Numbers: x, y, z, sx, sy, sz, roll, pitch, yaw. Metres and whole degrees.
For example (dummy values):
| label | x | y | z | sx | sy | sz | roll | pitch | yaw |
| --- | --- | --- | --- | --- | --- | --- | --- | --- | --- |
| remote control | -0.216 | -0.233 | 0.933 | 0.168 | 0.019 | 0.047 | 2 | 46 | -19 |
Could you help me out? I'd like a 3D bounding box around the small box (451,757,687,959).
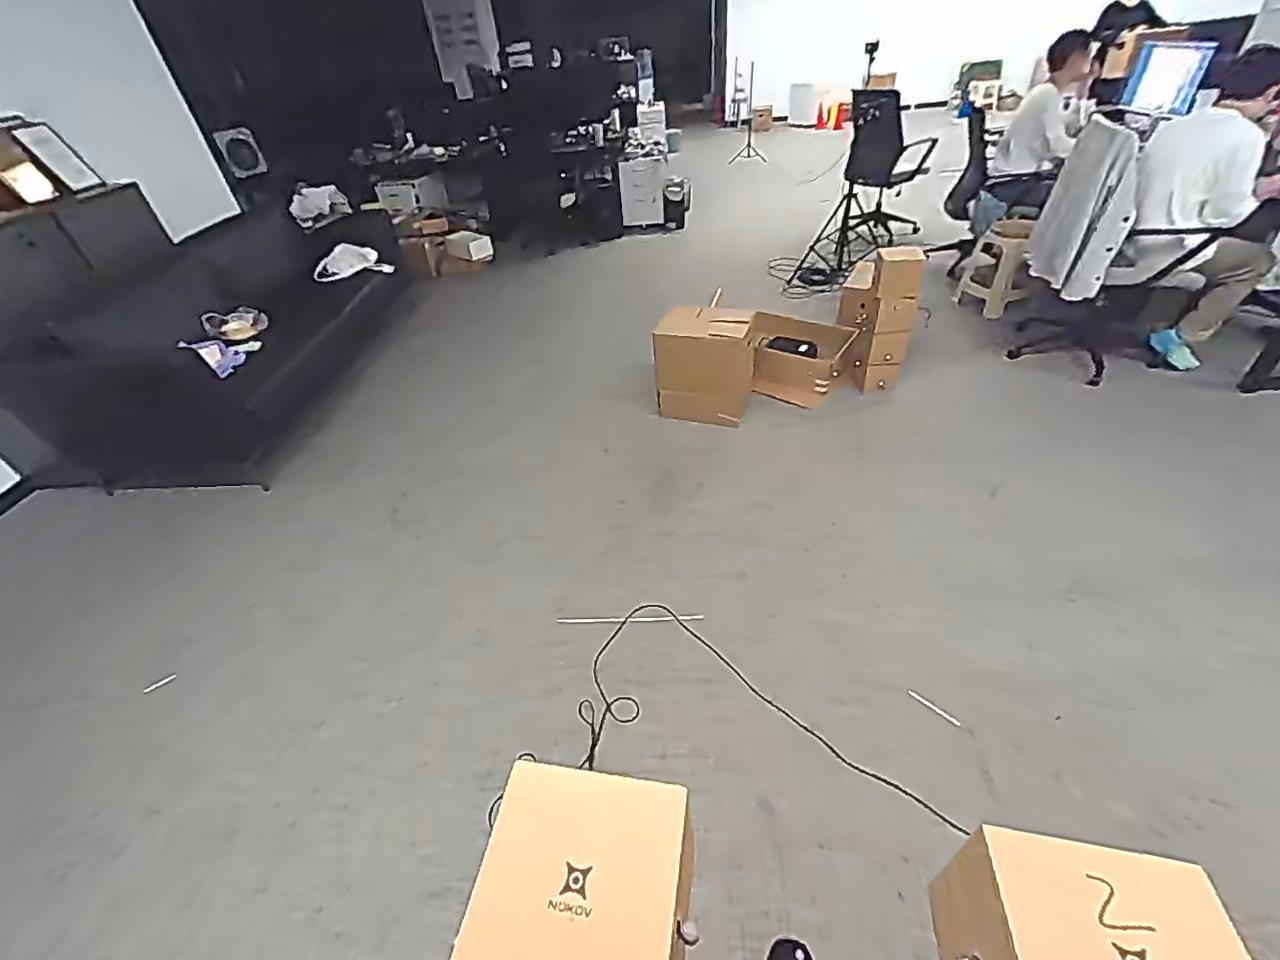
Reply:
| label | x | y | z | sx | sy | sz | roll | pitch | yaw |
| --- | --- | --- | --- | --- | --- | --- | --- | --- | --- |
| small box | -0.047 | 0.387 | 0.498 | 0.168 | 0.176 | 0.179 | 3 | 44 | 11 |
